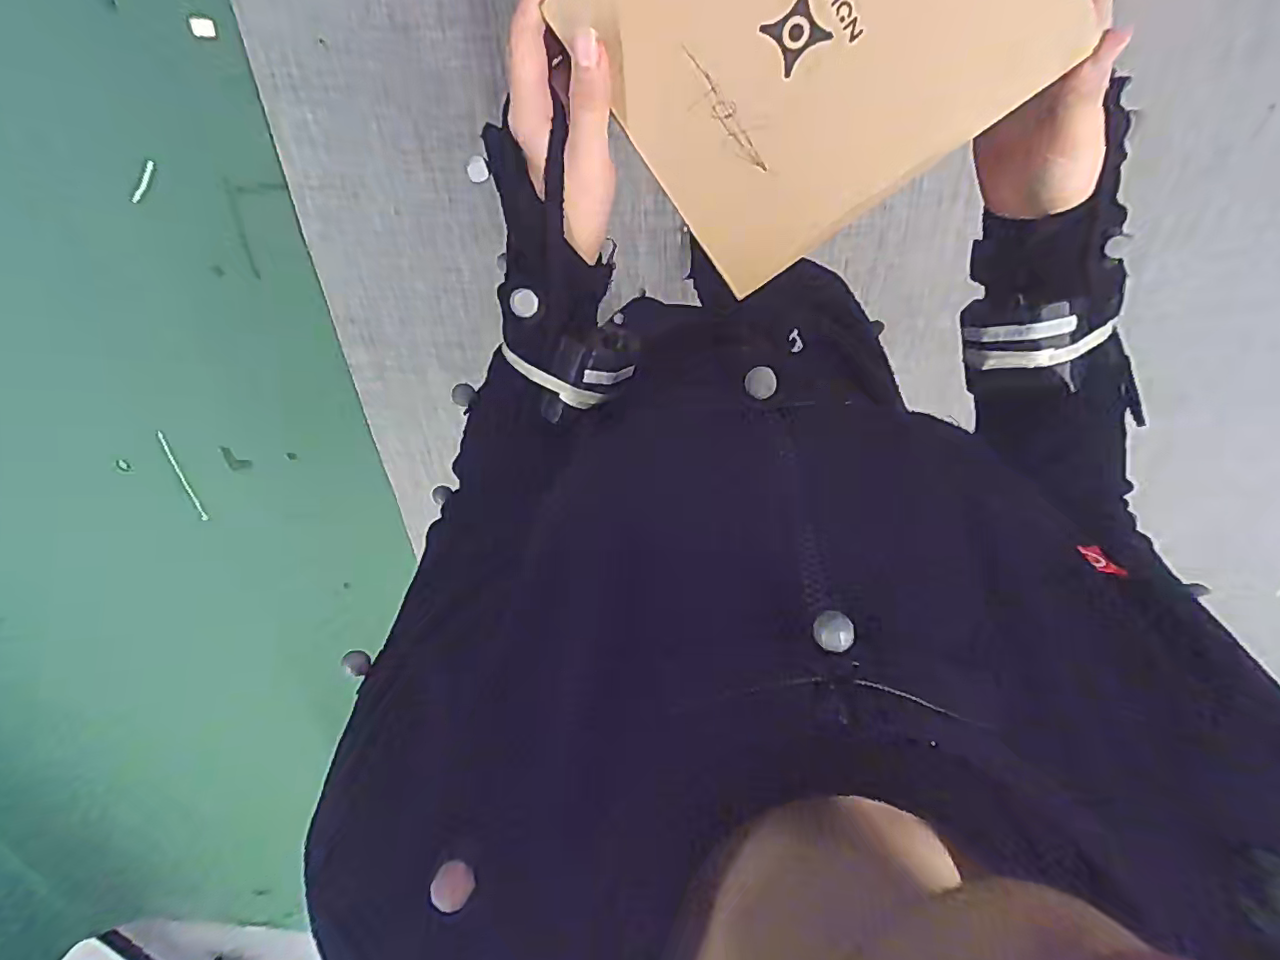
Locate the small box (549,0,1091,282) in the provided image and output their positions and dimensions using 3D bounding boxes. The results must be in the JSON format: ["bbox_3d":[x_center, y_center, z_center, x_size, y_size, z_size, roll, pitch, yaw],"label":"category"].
[{"bbox_3d":[0.086,-0.248,0.299,0.179,0.176,0.168,-30,111,30],"label":"small box"}]
